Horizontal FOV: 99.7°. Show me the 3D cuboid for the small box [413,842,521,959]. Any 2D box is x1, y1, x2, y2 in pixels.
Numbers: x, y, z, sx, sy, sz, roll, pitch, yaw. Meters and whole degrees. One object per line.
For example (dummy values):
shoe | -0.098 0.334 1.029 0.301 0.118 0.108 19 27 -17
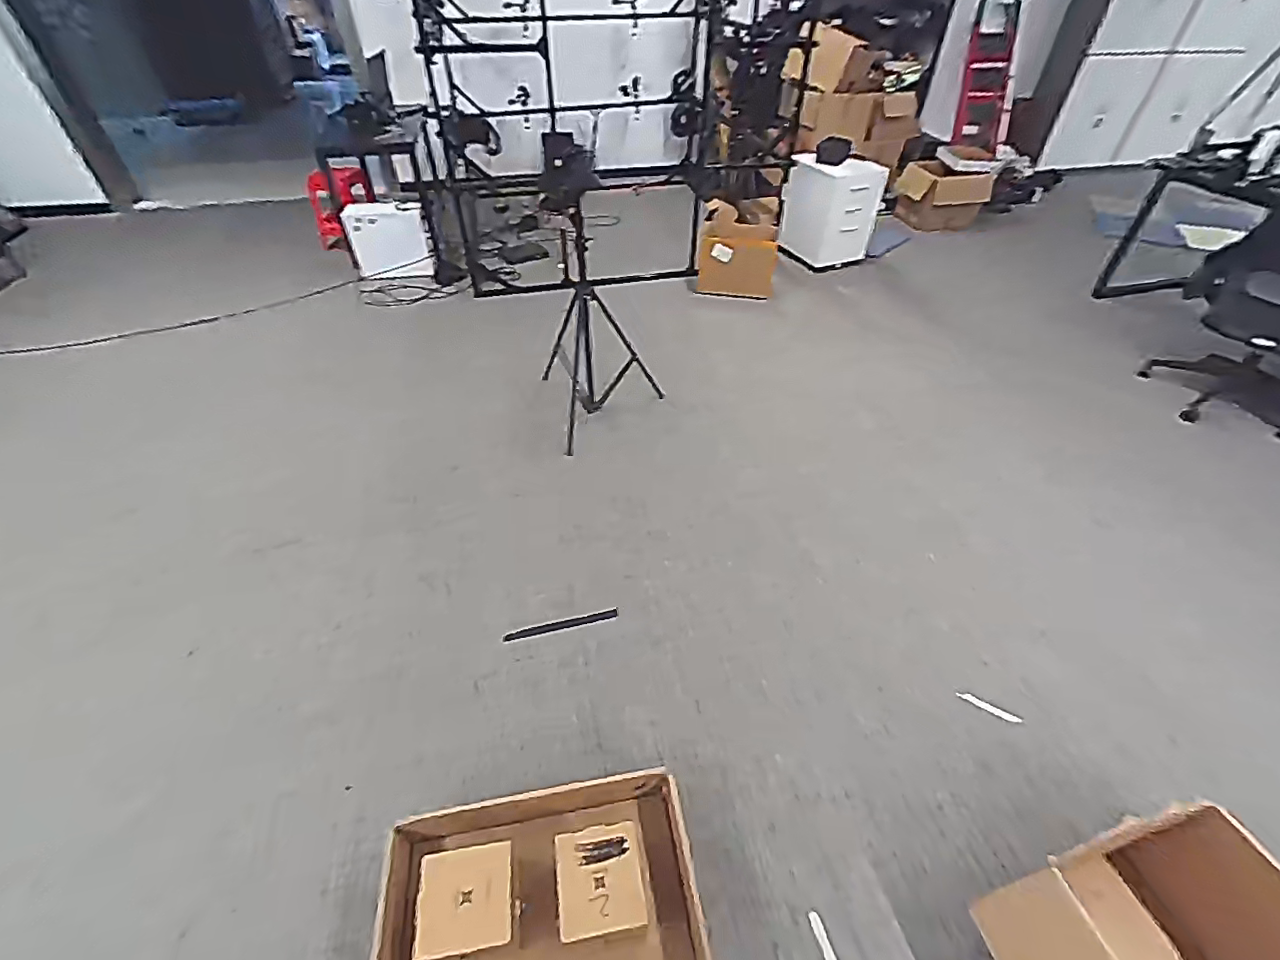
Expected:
small box | -0.342 0.867 1.100 0.179 0.176 0.168 -6 46 -9
